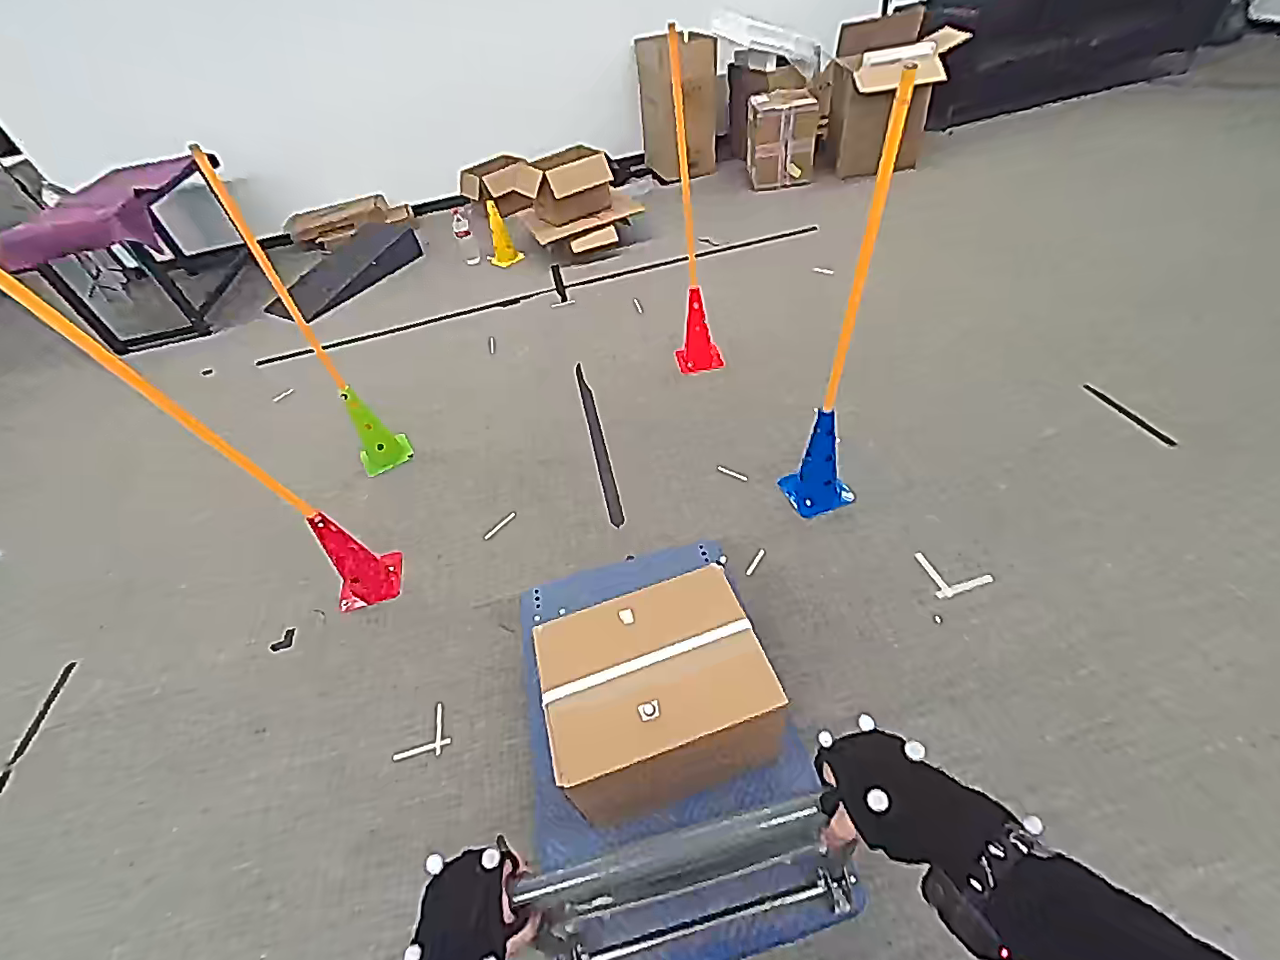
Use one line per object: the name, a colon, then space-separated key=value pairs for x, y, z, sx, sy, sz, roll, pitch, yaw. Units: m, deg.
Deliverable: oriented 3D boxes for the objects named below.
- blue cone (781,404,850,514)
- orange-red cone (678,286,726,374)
blue cone: x=0.584 y=-0.080 z=1.750 sx=0.193 sy=0.380 sz=0.192 roll=-17 pitch=45 yaw=-6
orange-red cone: x=0.261 y=-0.672 z=2.362 sx=0.199 sy=0.360 sz=0.198 roll=-9 pitch=46 yaw=0
